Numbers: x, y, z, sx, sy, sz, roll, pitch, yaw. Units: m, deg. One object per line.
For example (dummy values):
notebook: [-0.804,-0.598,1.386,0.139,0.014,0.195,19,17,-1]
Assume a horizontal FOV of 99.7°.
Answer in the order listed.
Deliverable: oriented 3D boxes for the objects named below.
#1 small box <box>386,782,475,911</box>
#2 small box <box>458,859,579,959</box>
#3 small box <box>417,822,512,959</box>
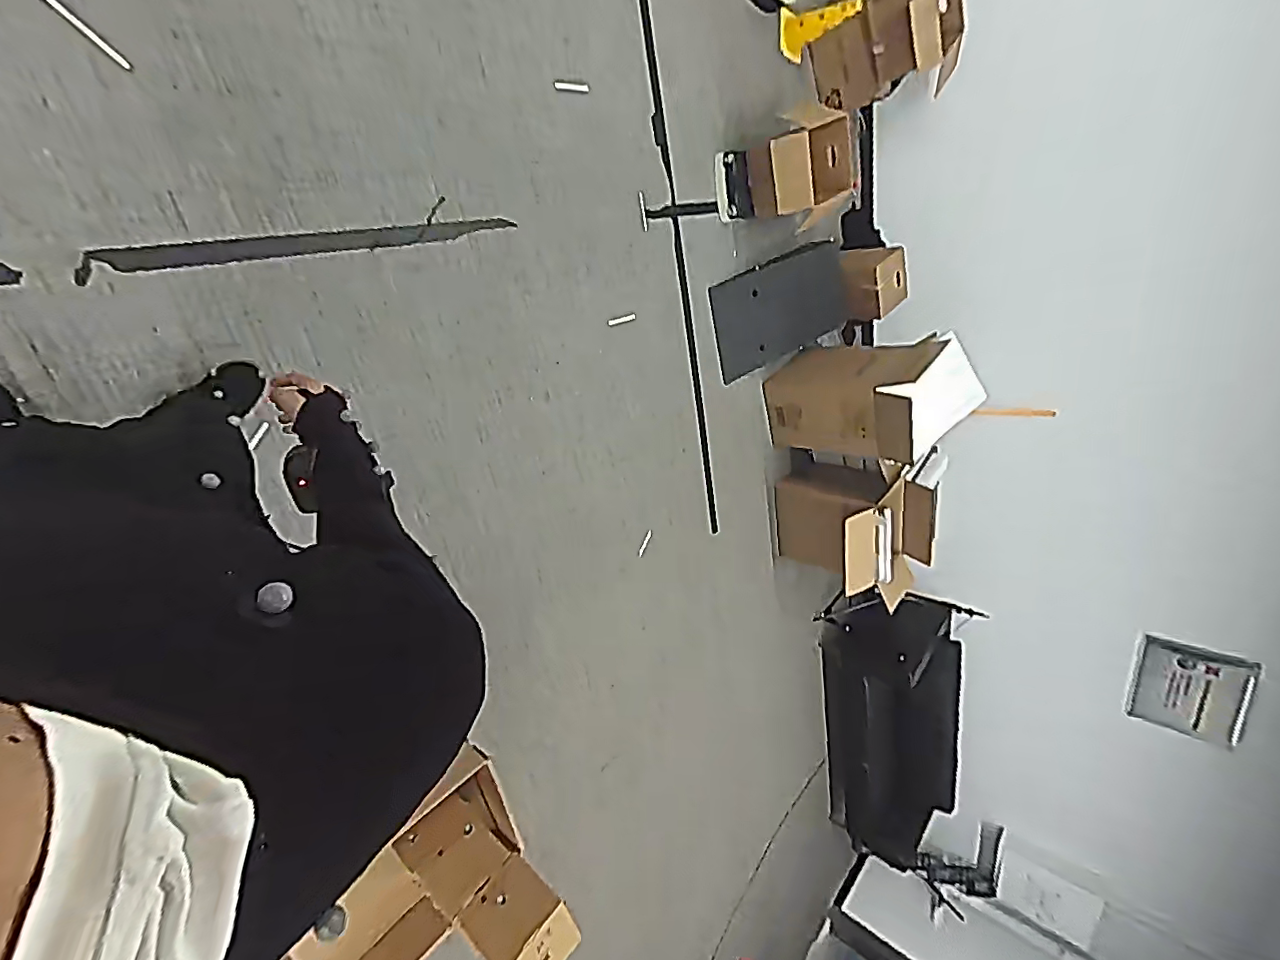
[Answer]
small box: [-0.520,0.926,1.380,0.179,0.176,0.168,-37,126,-37]
small box: [-0.265,0.985,1.182,0.168,0.176,0.179,-37,126,-37]
small box: [-0.396,0.956,1.279,0.168,0.176,0.179,-35,125,-38]
